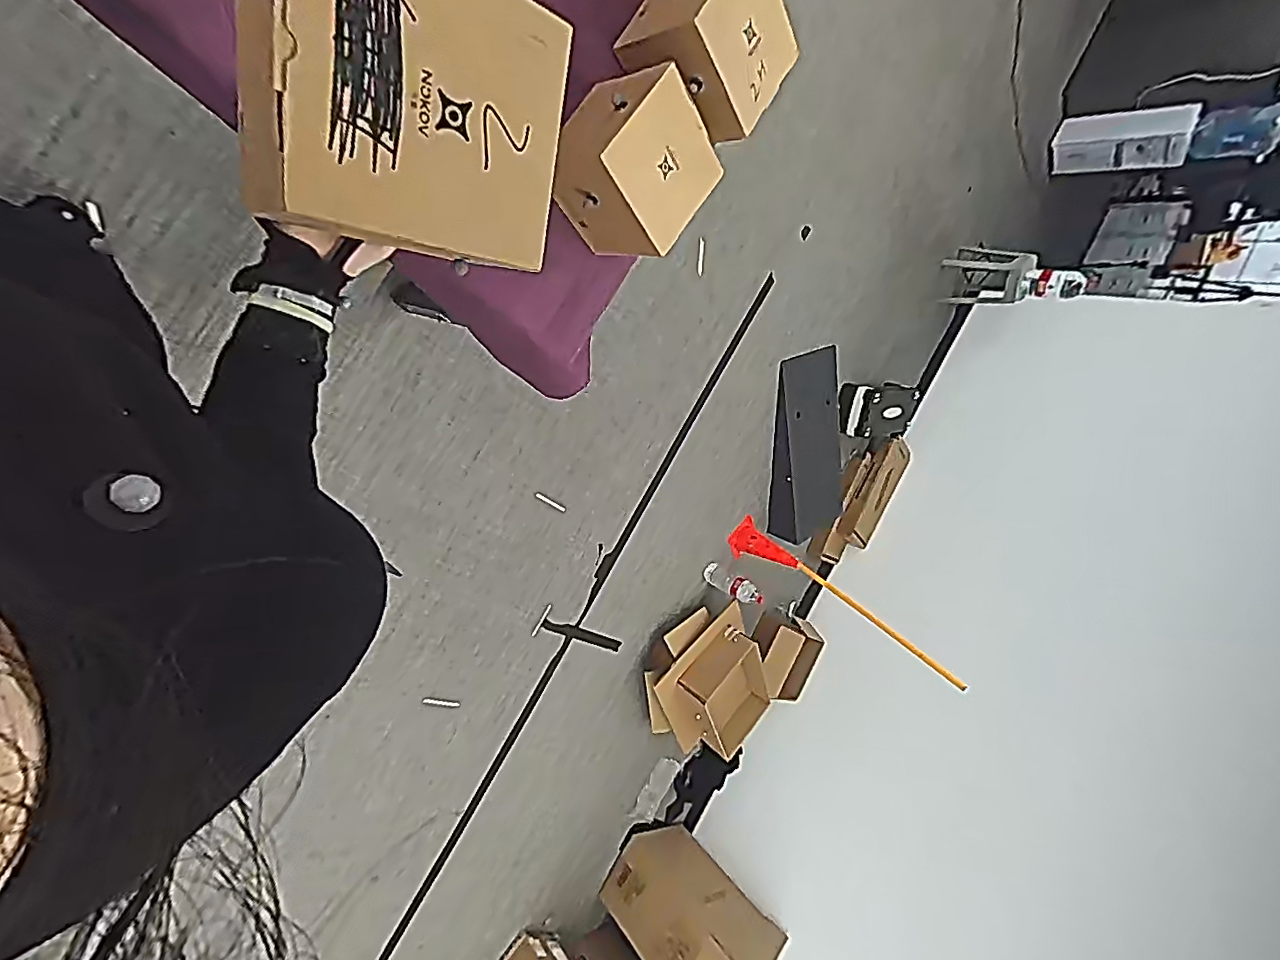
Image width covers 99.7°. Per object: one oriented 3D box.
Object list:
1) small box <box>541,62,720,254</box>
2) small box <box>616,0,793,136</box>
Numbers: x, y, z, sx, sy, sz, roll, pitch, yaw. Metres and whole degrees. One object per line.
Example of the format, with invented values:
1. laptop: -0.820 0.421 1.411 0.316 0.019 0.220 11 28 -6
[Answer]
1. small box: -0.020 -0.459 0.799 0.179 0.176 0.168 -57 136 -10
2. small box: 0.096 -0.649 0.817 0.179 0.176 0.168 38 82 -48
